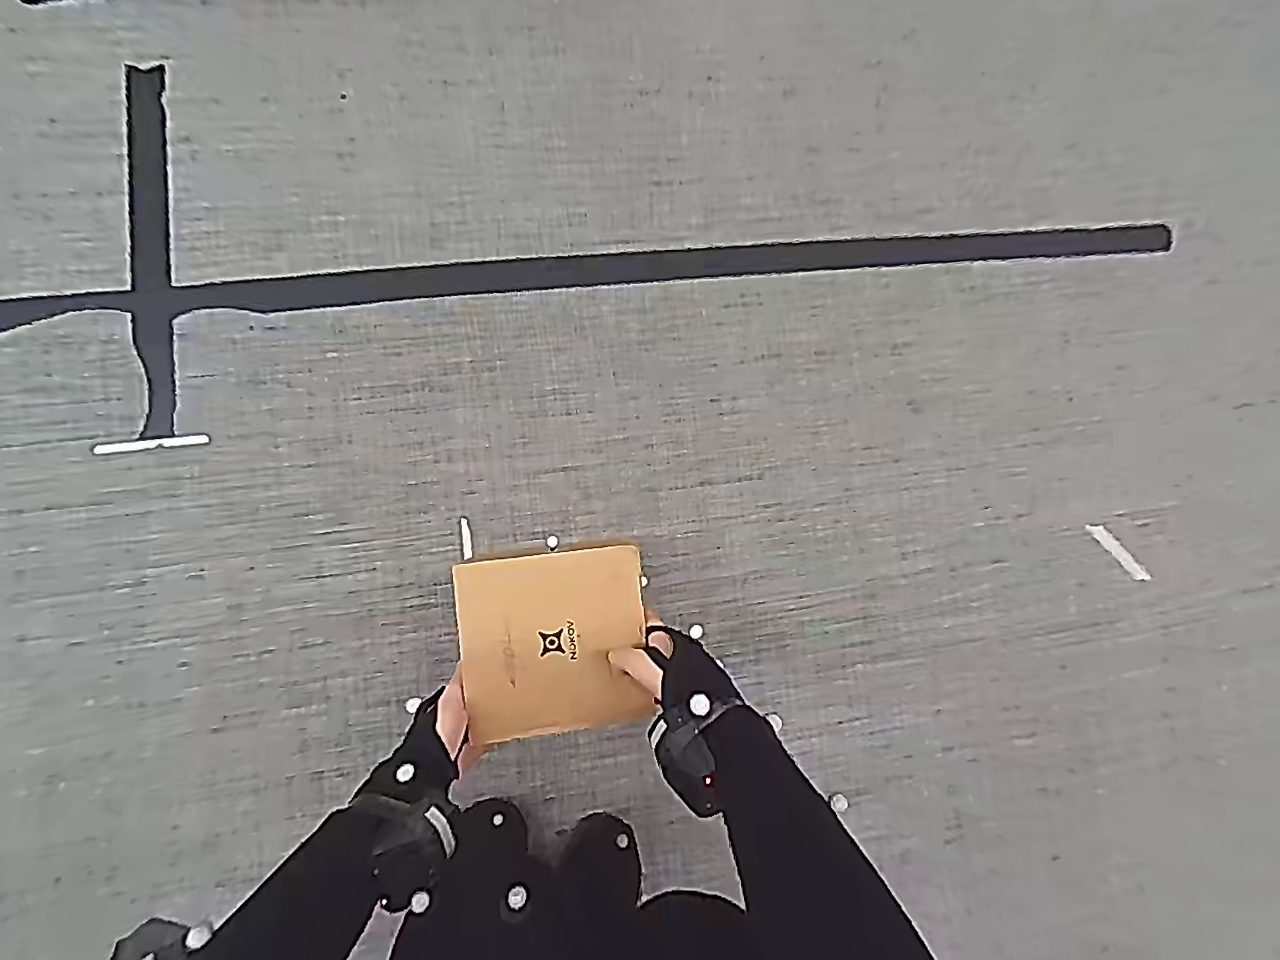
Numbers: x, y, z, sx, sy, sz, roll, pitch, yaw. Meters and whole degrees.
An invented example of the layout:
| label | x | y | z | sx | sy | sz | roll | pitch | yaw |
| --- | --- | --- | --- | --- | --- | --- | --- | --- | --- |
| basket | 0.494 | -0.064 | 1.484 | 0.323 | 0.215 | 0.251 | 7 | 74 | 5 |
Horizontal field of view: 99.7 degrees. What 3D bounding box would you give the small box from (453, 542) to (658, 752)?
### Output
| label | x | y | z | sx | sy | sz | roll | pitch | yaw |
| --- | --- | --- | --- | --- | --- | --- | --- | --- | --- |
| small box | -0.086 | 0.155 | 0.564 | 0.179 | 0.176 | 0.168 | -5 | 86 | -7 |
